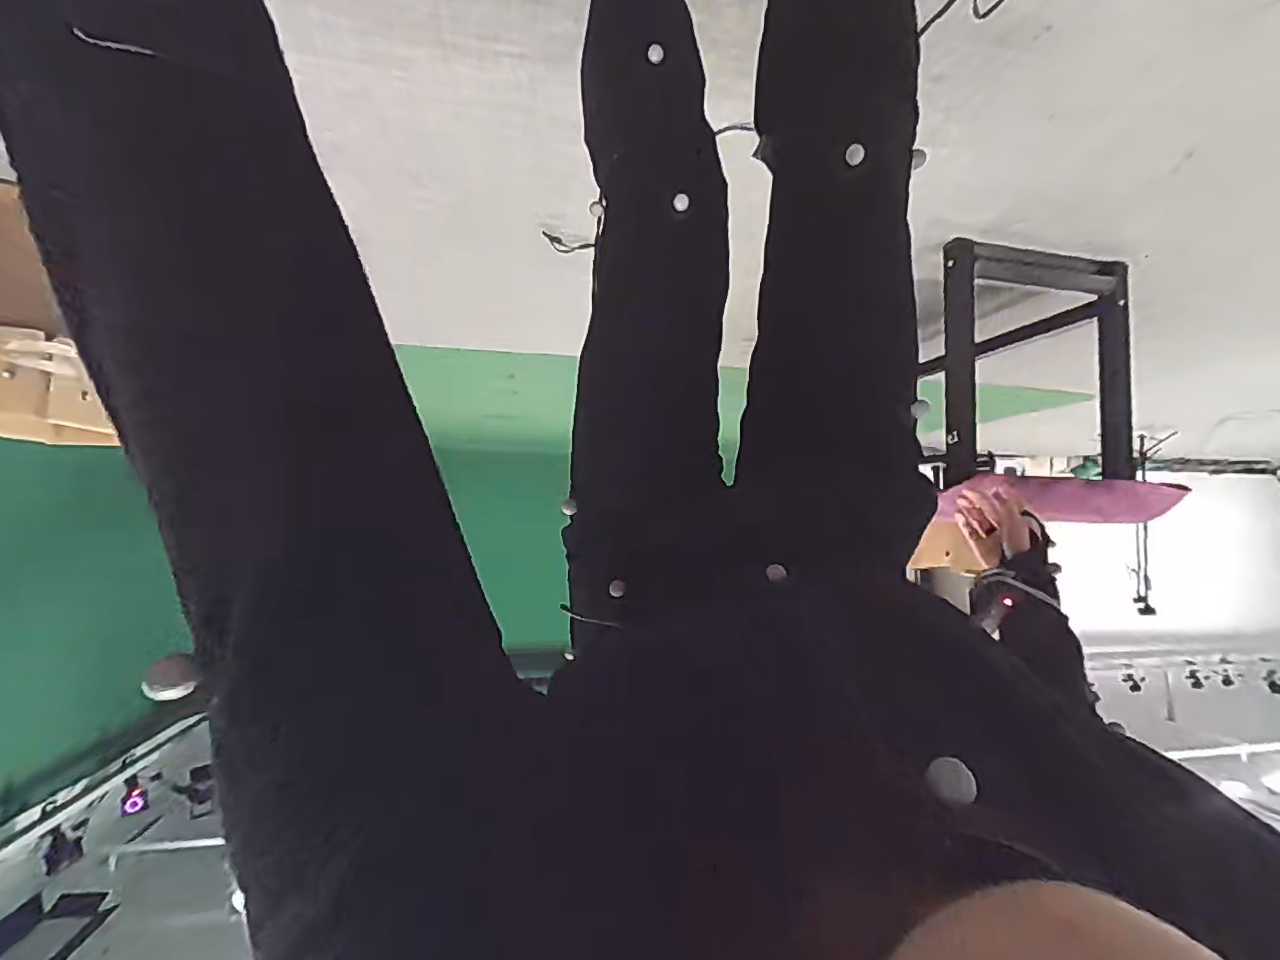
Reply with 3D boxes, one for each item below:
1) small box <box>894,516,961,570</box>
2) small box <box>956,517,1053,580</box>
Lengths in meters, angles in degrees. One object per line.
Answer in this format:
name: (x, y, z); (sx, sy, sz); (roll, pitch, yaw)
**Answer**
small box: (0.985, 0.209, 1.820); (0.179, 0.176, 0.168); (2, 176, -8)
small box: (1.045, 0.193, 1.559); (0.179, 0.176, 0.168); (3, 176, -14)
